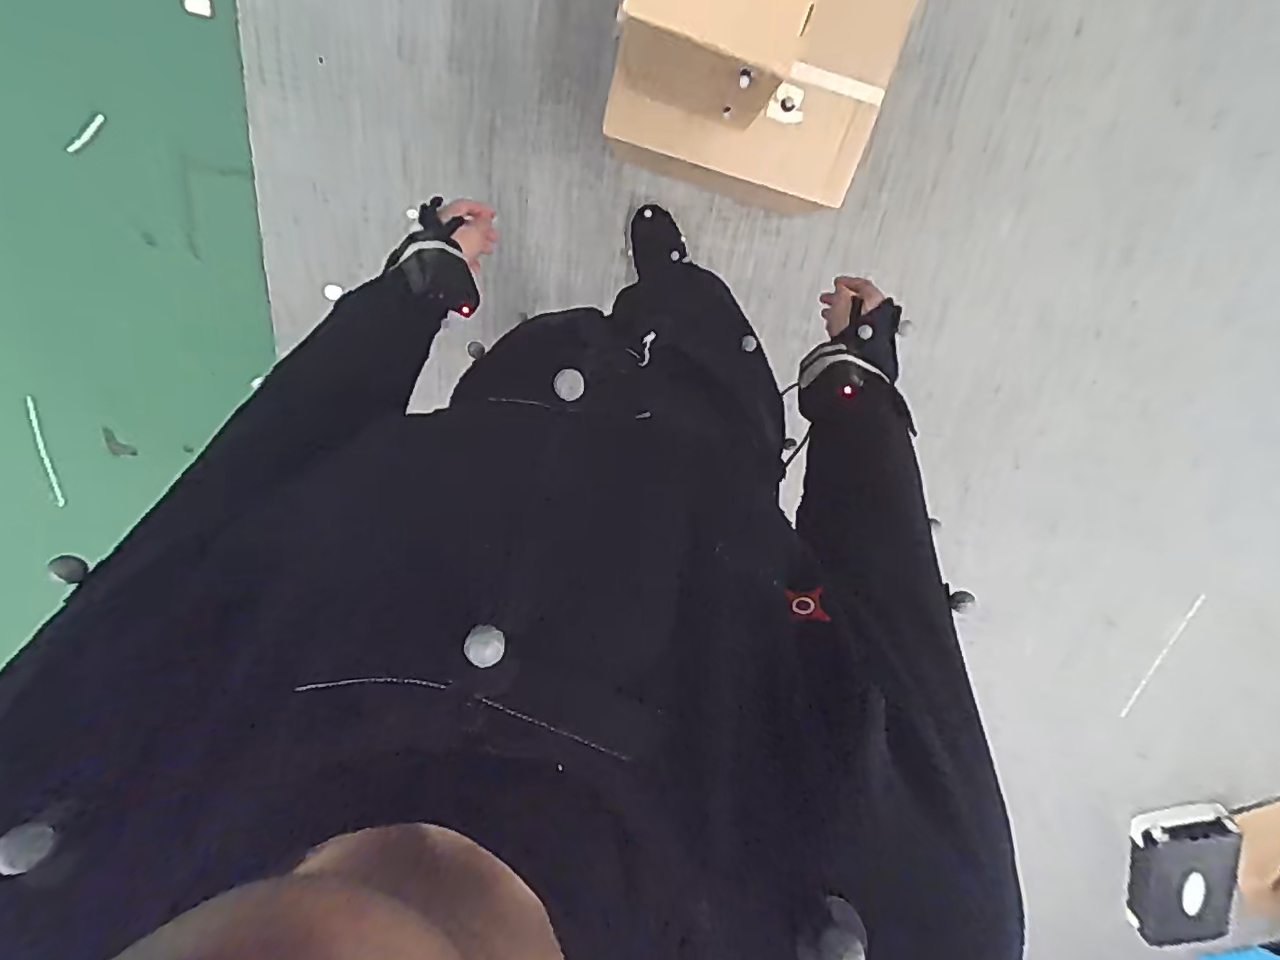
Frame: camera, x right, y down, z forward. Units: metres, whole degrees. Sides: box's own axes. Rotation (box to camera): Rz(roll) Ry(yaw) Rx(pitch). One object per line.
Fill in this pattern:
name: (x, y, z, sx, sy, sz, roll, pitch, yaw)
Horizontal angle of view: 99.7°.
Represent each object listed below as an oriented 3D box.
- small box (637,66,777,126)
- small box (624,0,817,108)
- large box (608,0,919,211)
small box: (0.101, -0.592, 0.711, 0.179, 0.176, 0.168, 14, 112, -4)
small box: (0.090, -0.522, 0.564, 0.179, 0.176, 0.168, 16, 112, -7)
large box: (0.175, -0.685, 0.933, 0.408, 0.320, 0.320, 14, 115, -6)
